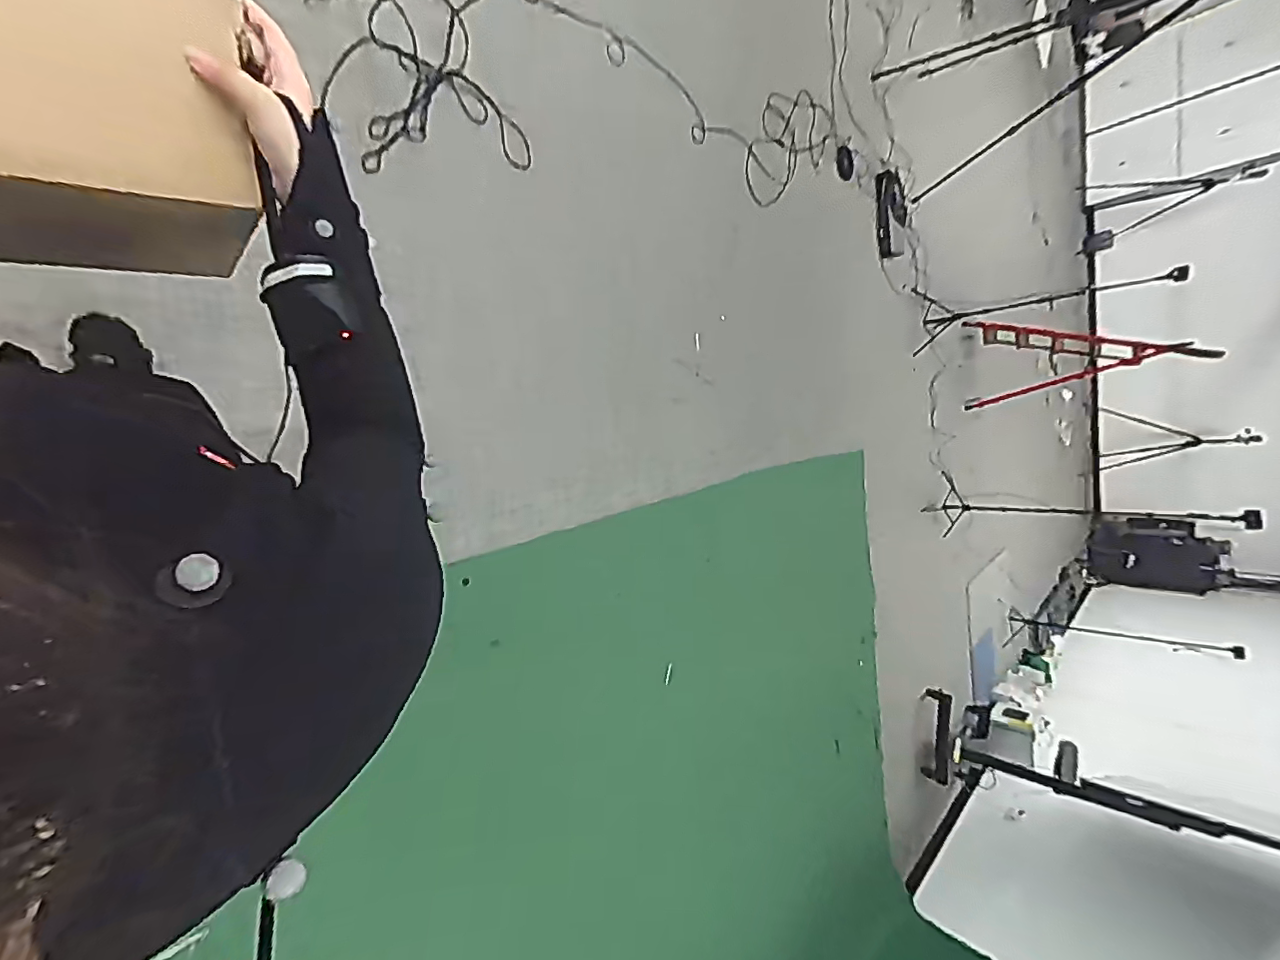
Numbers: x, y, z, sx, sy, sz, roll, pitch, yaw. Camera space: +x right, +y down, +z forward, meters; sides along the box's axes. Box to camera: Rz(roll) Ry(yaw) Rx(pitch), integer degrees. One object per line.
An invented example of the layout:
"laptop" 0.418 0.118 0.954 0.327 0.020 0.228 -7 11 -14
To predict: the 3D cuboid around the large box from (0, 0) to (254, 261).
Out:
"large box" -0.563 -0.357 0.394 0.408 0.320 0.320 -12 104 -38
